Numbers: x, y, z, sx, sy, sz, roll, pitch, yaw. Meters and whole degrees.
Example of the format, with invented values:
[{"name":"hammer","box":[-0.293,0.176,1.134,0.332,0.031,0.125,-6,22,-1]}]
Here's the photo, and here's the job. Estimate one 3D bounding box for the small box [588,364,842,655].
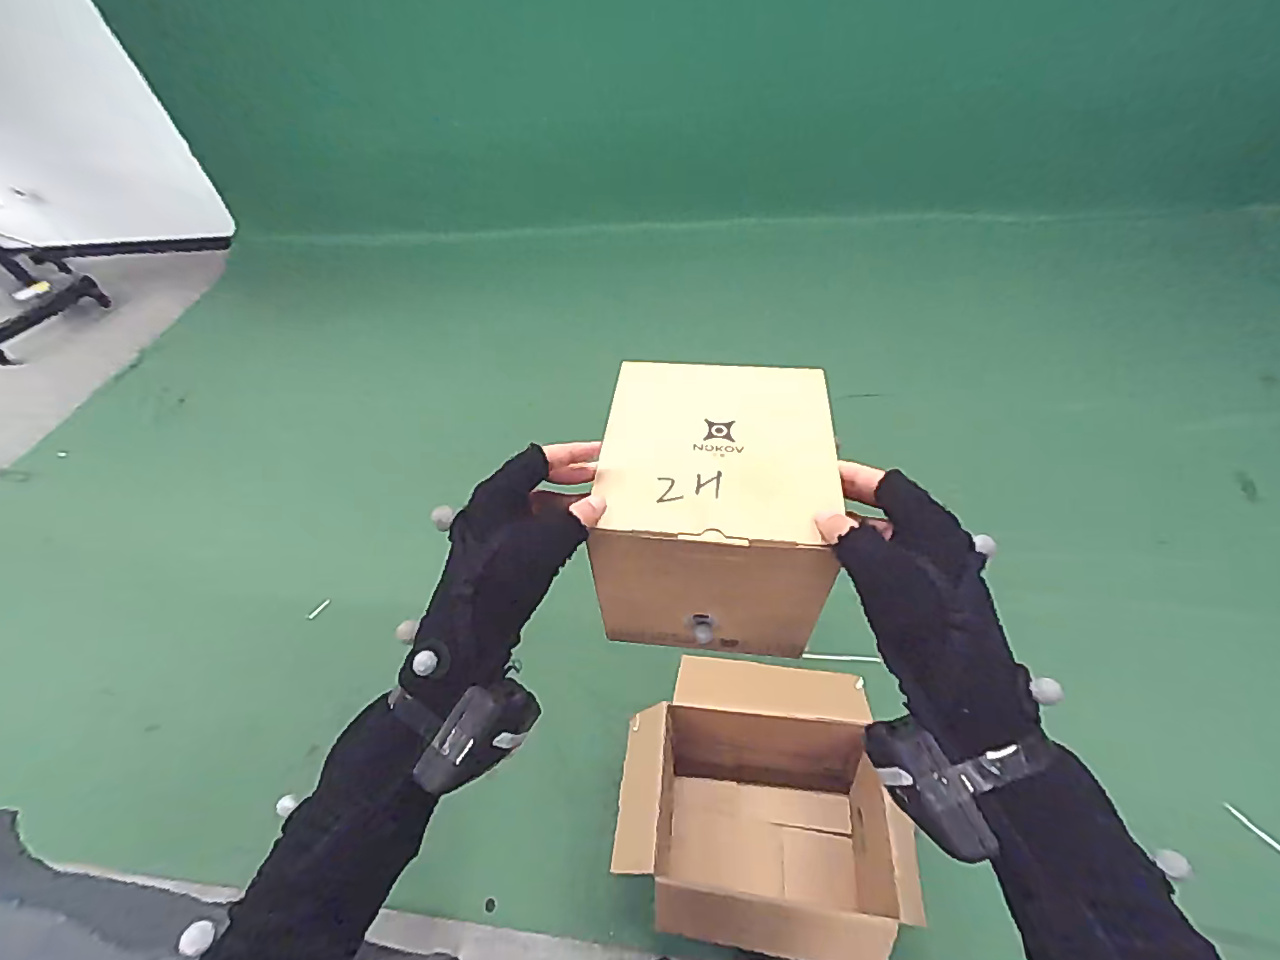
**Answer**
[{"name":"small box","box":[0.059,0.024,0.457,0.168,0.176,0.179,3,49,7]}]
